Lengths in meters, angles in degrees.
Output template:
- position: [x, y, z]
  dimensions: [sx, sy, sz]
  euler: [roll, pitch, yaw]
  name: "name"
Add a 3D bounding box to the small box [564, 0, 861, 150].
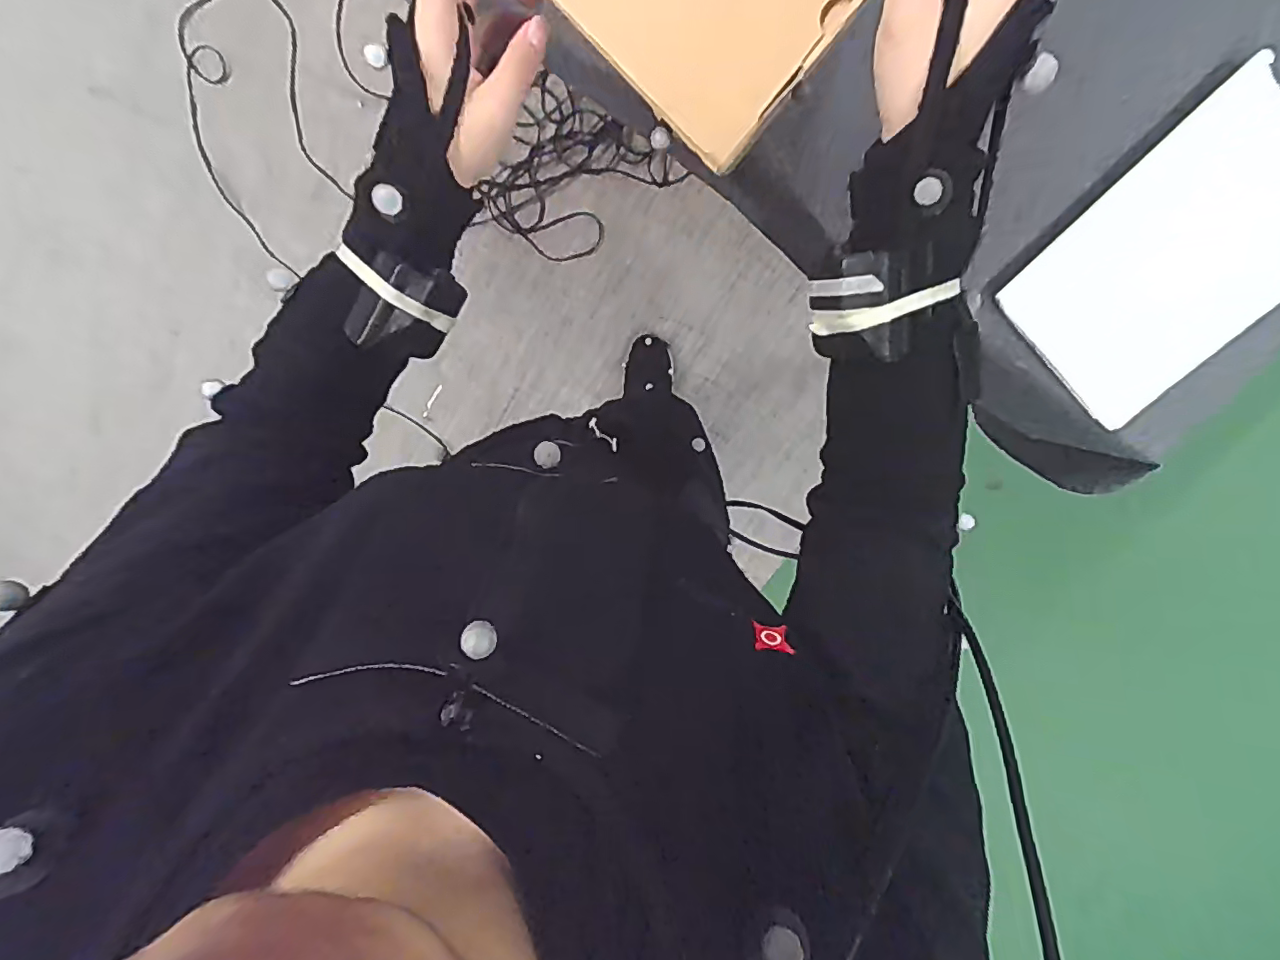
- position: [0.046, -0.321, 0.313]
  dimensions: [0.179, 0.176, 0.168]
  euler: [38, 117, -13]
  name: "small box"
